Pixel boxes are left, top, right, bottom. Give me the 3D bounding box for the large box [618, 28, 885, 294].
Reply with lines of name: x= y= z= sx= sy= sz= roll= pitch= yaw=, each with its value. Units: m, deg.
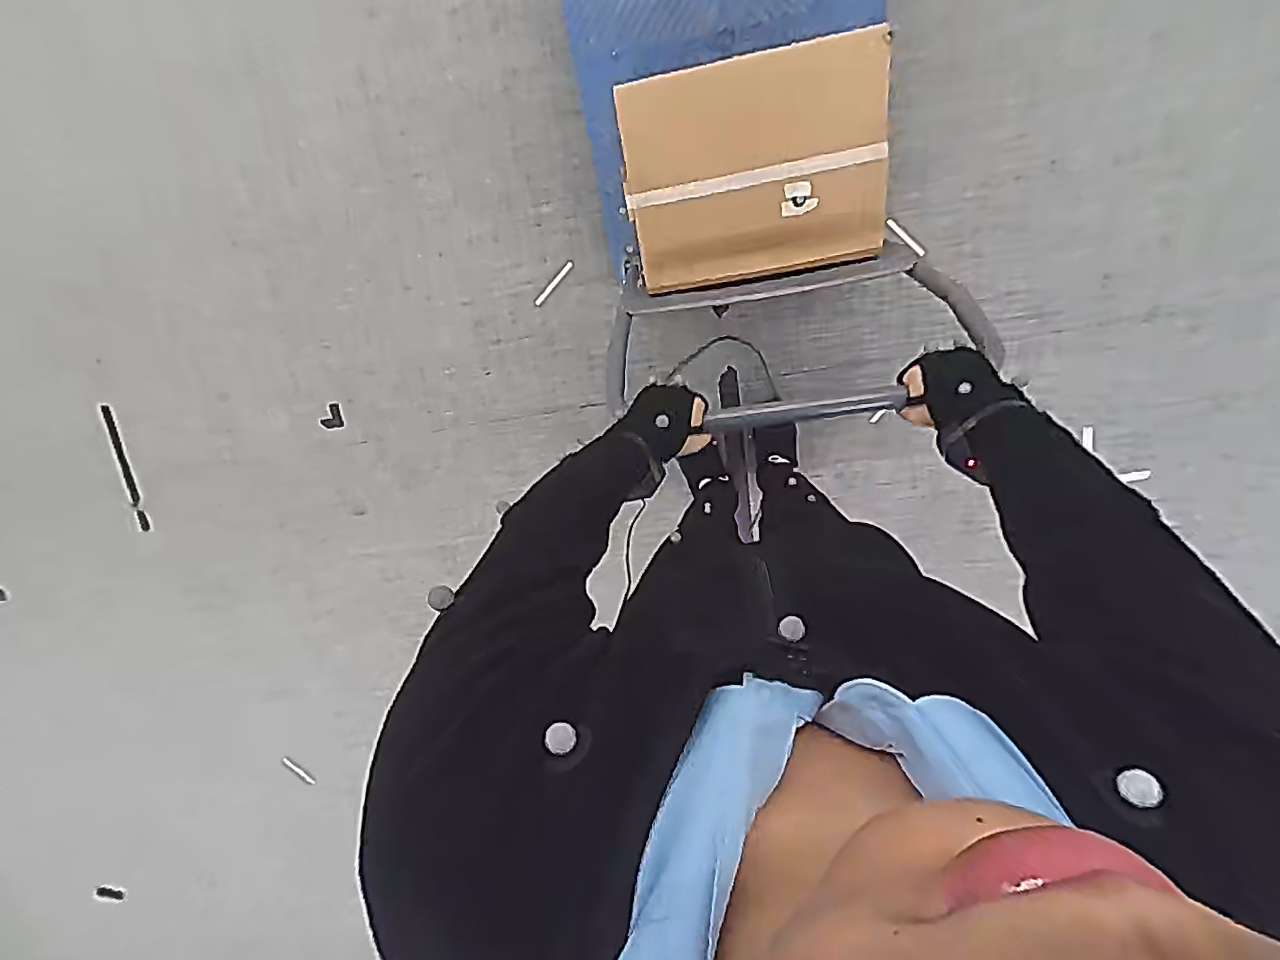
large box: x=0.194 y=-0.571 z=1.009 sx=0.408 sy=0.320 sz=0.320 roll=-8 pitch=121 yaw=8
